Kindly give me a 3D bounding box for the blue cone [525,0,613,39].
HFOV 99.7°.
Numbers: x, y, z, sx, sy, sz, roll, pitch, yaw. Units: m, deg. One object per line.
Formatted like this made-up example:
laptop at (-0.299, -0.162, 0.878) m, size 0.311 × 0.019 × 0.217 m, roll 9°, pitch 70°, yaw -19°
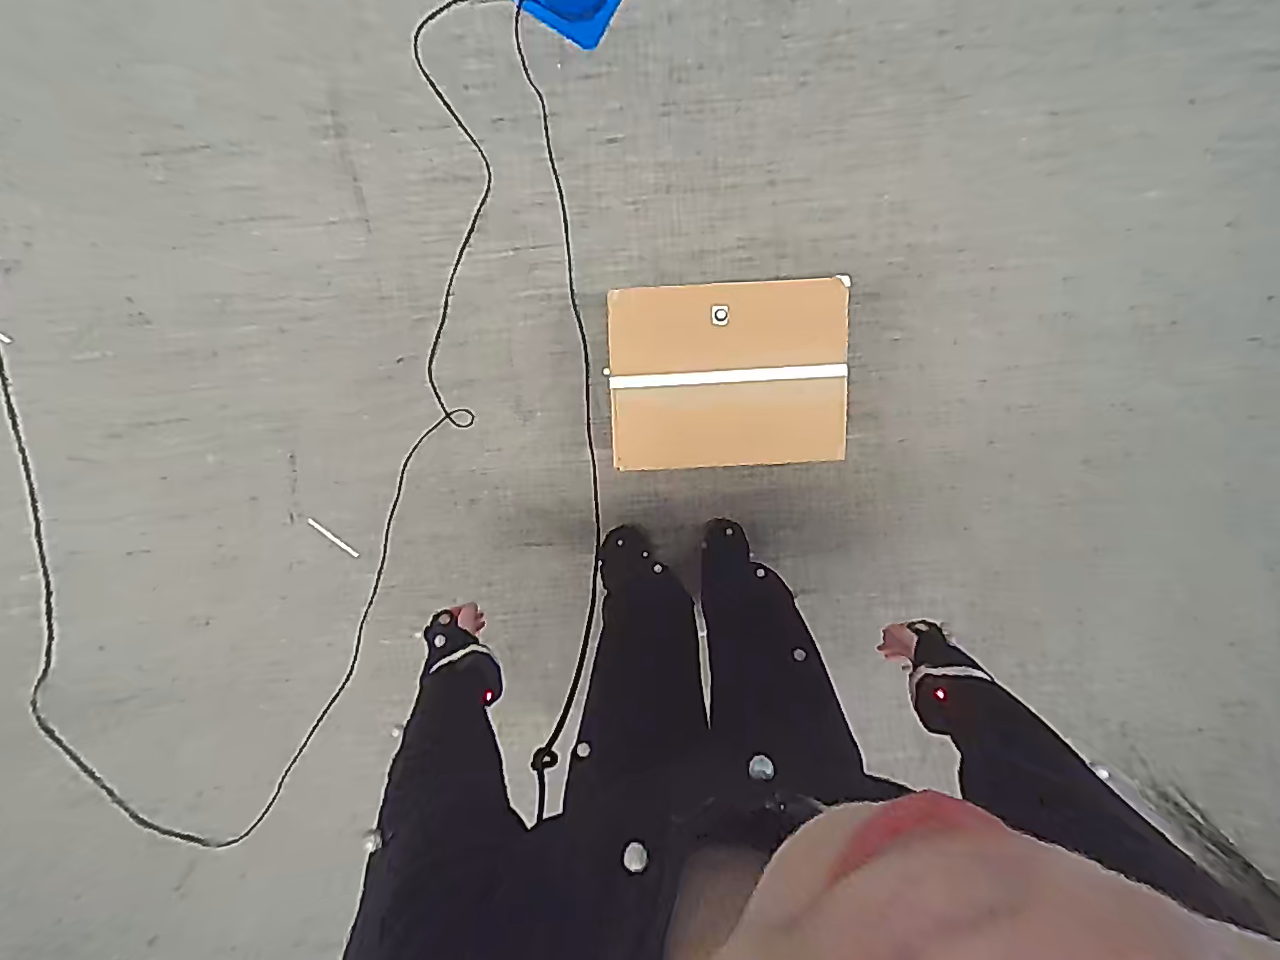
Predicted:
blue cone at (-0.130, -0.992, 0.920) m, size 0.192 × 0.380 × 0.193 m, roll 28°, pitch 97°, yaw -4°
